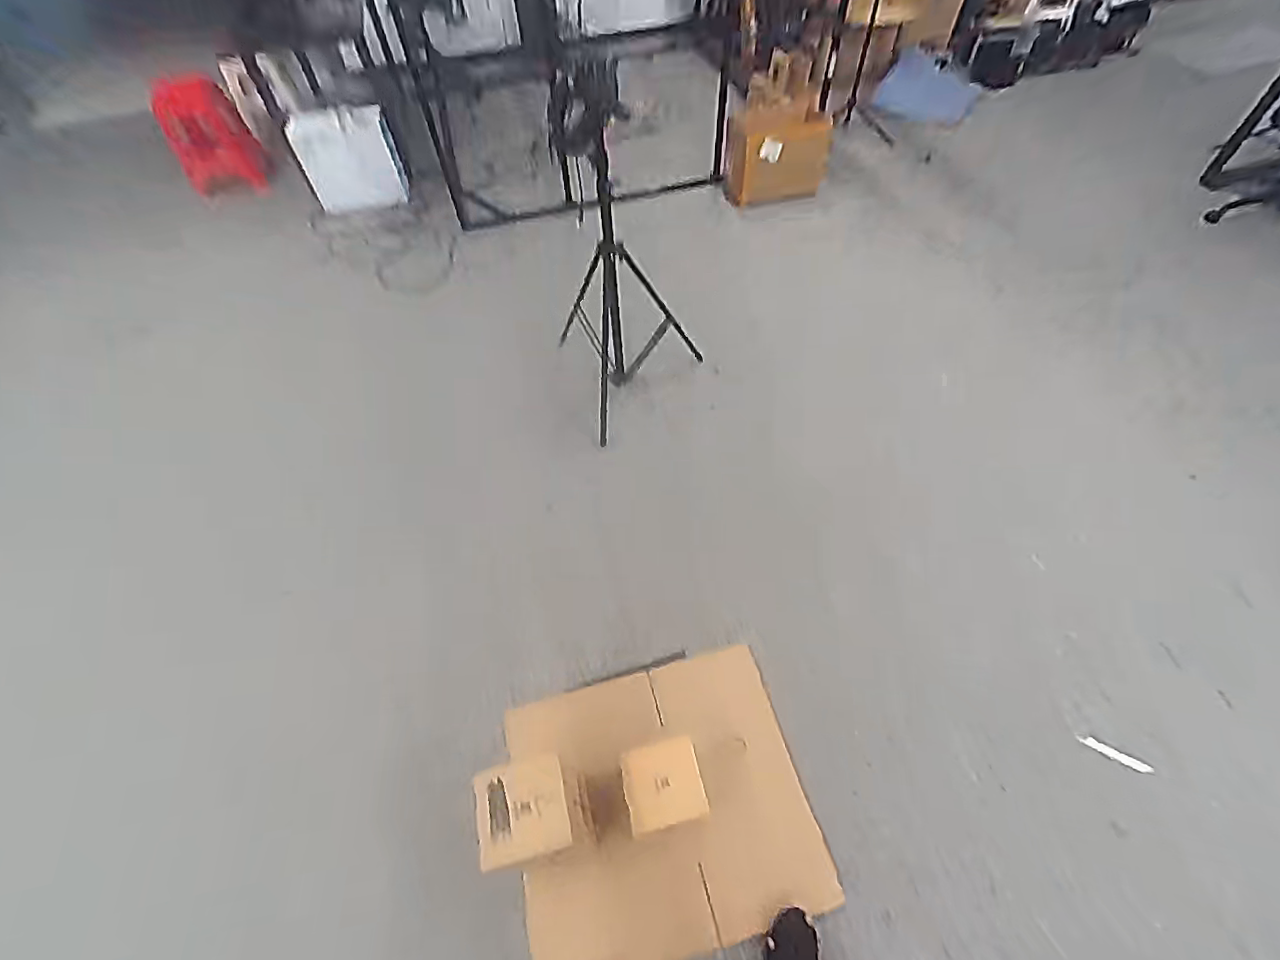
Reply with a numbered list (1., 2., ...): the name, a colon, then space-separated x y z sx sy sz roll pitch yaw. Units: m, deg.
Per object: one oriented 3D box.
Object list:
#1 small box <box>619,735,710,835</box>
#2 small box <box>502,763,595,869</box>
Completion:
1. small box: 0.053 0.721 1.275 0.179 0.176 0.168 -12 56 -6
2. small box: -0.205 0.774 1.247 0.179 0.176 0.168 -14 55 -6
